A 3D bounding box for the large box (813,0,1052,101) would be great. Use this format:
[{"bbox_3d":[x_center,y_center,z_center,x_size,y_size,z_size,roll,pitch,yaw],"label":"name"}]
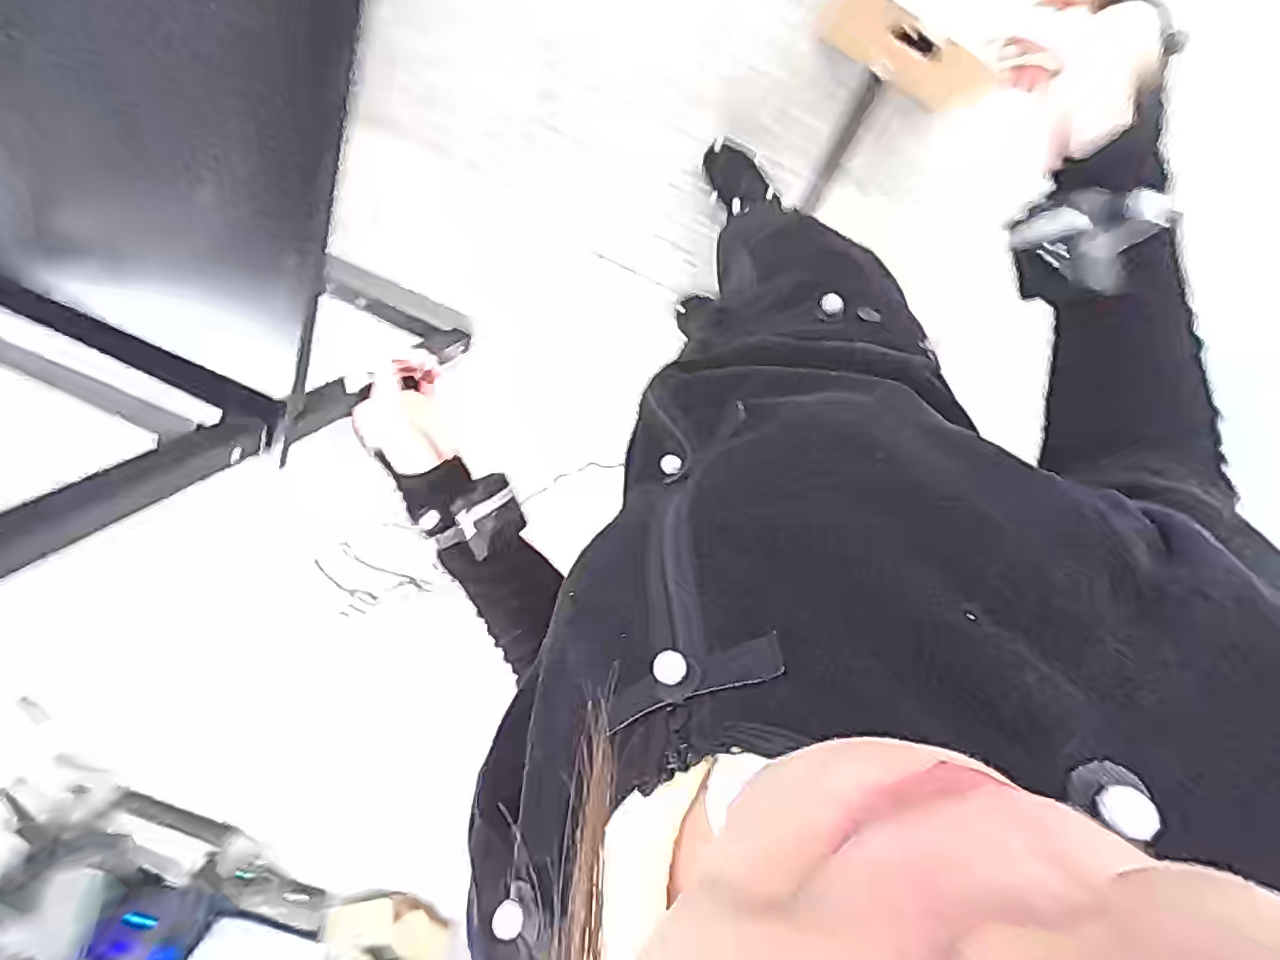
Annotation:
[{"bbox_3d":[0.543,-0.934,0.880,0.320,0.320,0.408,27,115,-7],"label":"large box"}]
